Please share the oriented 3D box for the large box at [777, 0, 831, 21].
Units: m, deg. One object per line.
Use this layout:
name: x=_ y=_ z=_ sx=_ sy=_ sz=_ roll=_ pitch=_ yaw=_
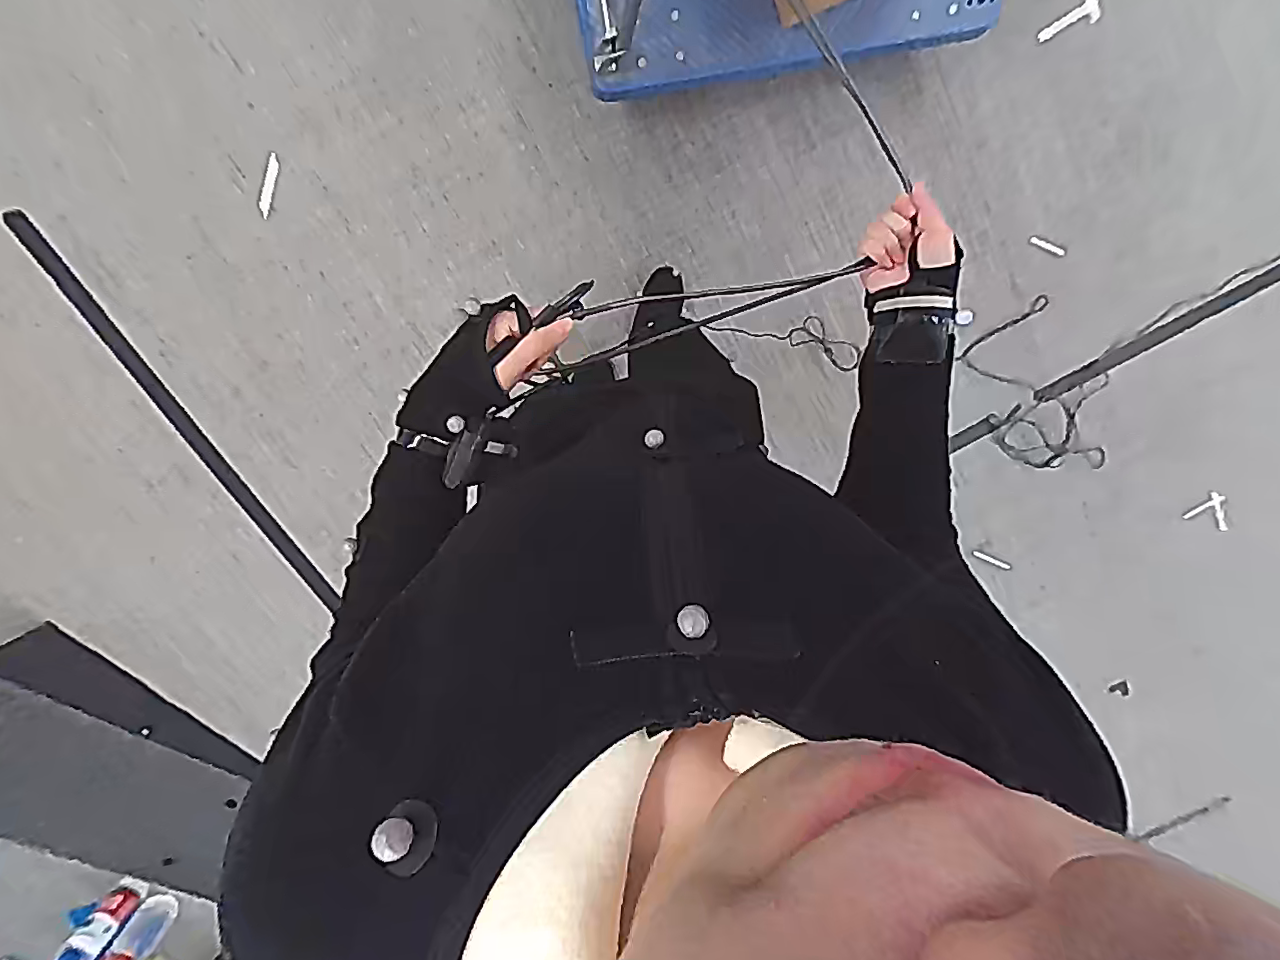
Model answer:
large box: x=0.358 y=-1.112 z=0.887 sx=0.320 sy=0.320 sz=0.408 roll=-25 pitch=108 yaw=3
